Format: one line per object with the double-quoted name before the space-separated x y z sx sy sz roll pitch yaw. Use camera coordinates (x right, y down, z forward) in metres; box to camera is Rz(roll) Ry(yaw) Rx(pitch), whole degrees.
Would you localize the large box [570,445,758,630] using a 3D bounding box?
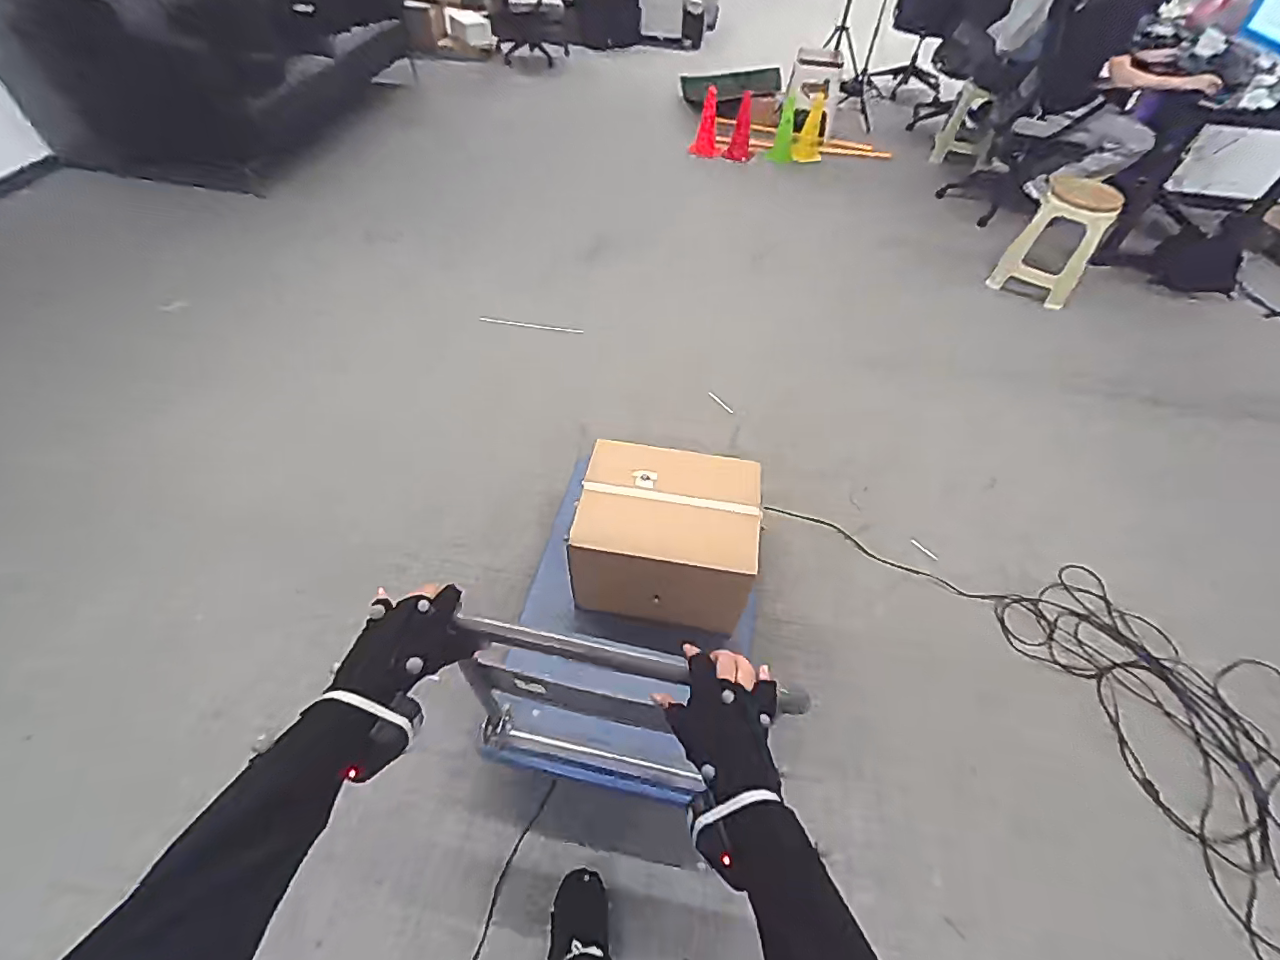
"large box" 0.066 0.148 1.341 0.408 0.320 0.320 8 51 4
